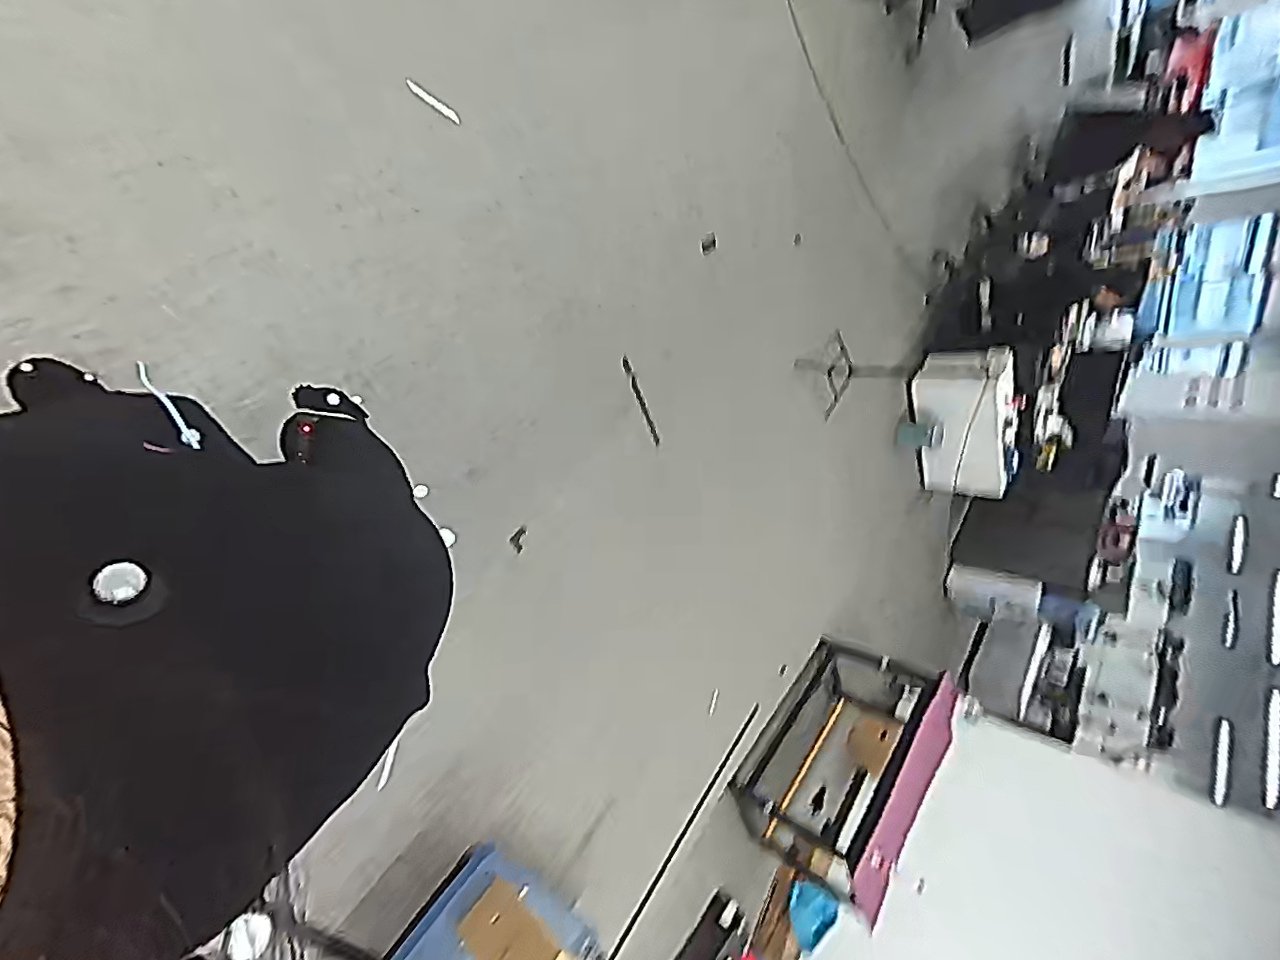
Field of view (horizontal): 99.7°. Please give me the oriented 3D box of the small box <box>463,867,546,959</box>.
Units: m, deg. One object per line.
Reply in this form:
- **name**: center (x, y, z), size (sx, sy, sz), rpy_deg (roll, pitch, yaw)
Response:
- **small box**: center (-0.414, 1.347, 1.653), size (0.179, 0.176, 0.168), rpy_deg (-43, 126, -32)

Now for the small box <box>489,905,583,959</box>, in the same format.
- **small box**: center (-0.294, 1.369, 1.542), size (0.168, 0.176, 0.179), rpy_deg (-45, 128, -30)
